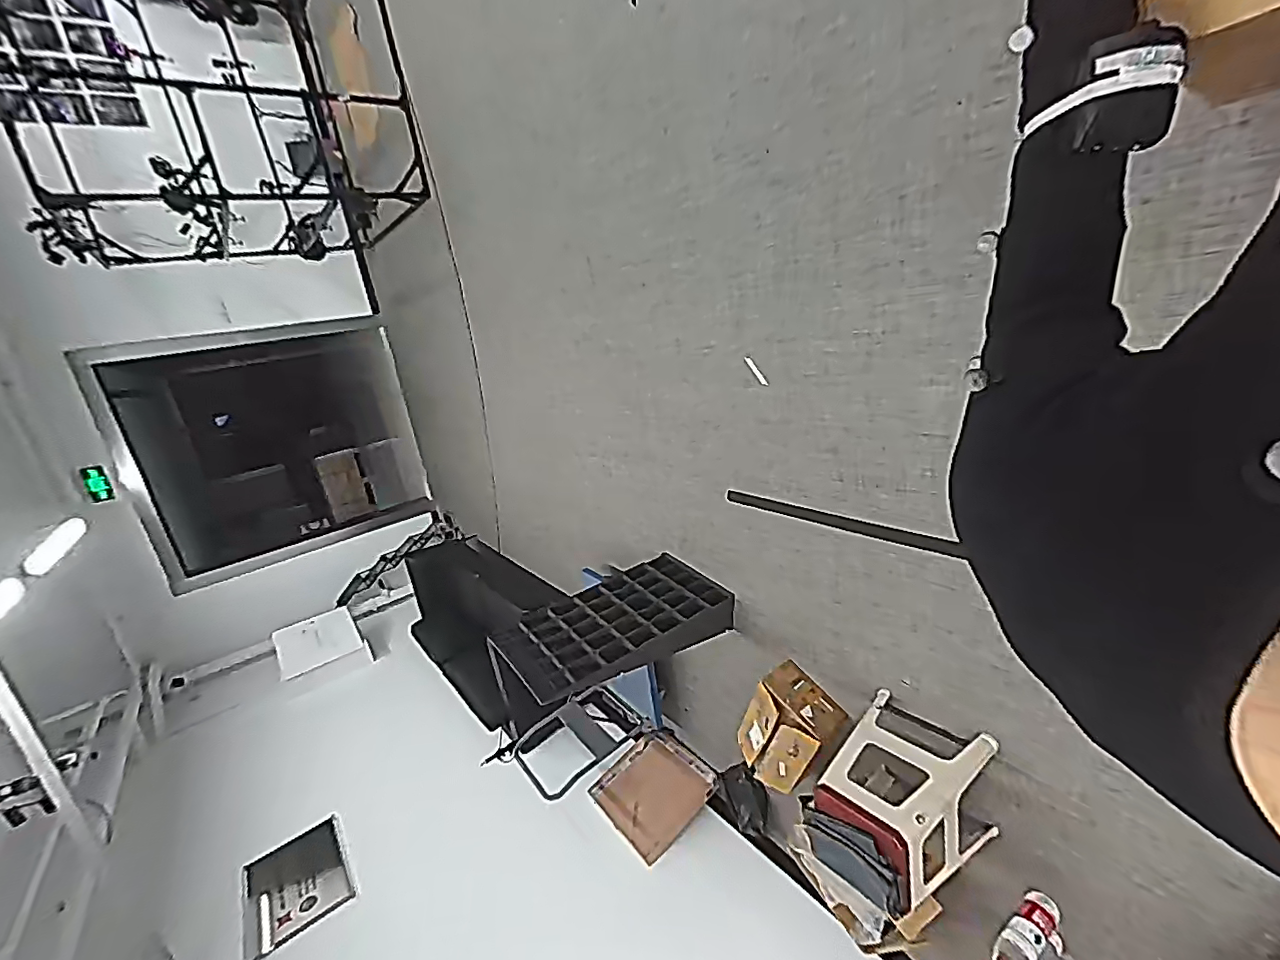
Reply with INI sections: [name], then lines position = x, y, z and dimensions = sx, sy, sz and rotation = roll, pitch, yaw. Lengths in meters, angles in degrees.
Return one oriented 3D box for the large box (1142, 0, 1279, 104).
[large box]
position = 0.557, -0.471, 0.277
dimensions = 0.408, 0.320, 0.320
rotation = 6, 112, 51
